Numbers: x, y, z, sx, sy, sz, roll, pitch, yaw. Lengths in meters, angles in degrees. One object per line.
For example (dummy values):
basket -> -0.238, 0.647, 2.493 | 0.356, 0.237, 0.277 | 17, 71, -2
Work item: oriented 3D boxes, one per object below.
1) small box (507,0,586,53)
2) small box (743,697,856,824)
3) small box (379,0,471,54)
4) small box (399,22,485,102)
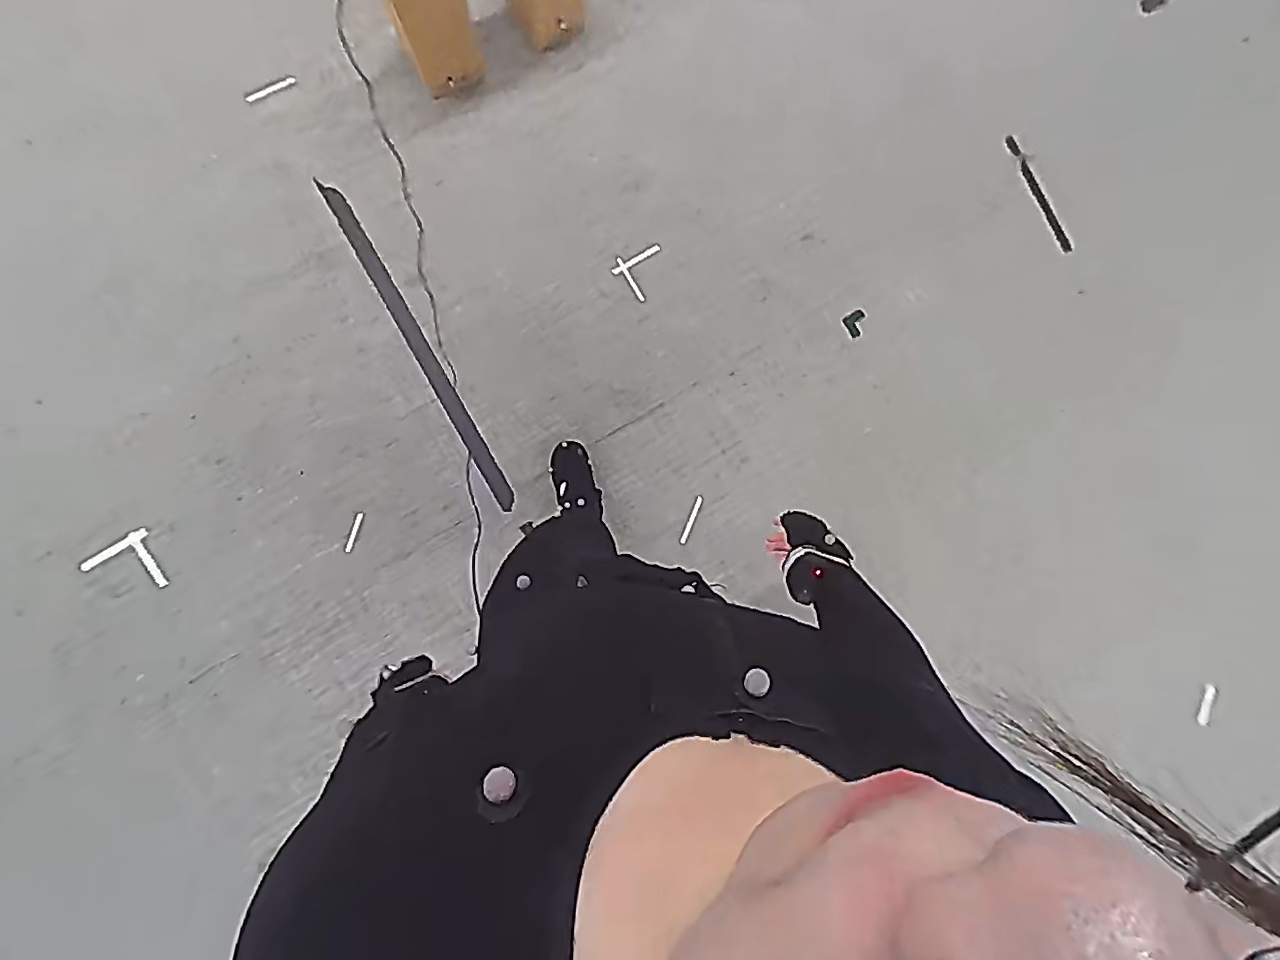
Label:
small box -> -0.260, -1.322, 1.460 | 0.168, 0.176, 0.179 | -32, 91, -6
small box -> 0.355, 0.636, 1.247 | 0.179, 0.176, 0.168 | -26, 91, -6
small box -> -0.526, -1.161, 1.266 | 0.179, 0.176, 0.168 | -32, 90, -6
small box -> -0.534, -1.159, 1.428 | 0.168, 0.176, 0.179 | -28, 91, -5
